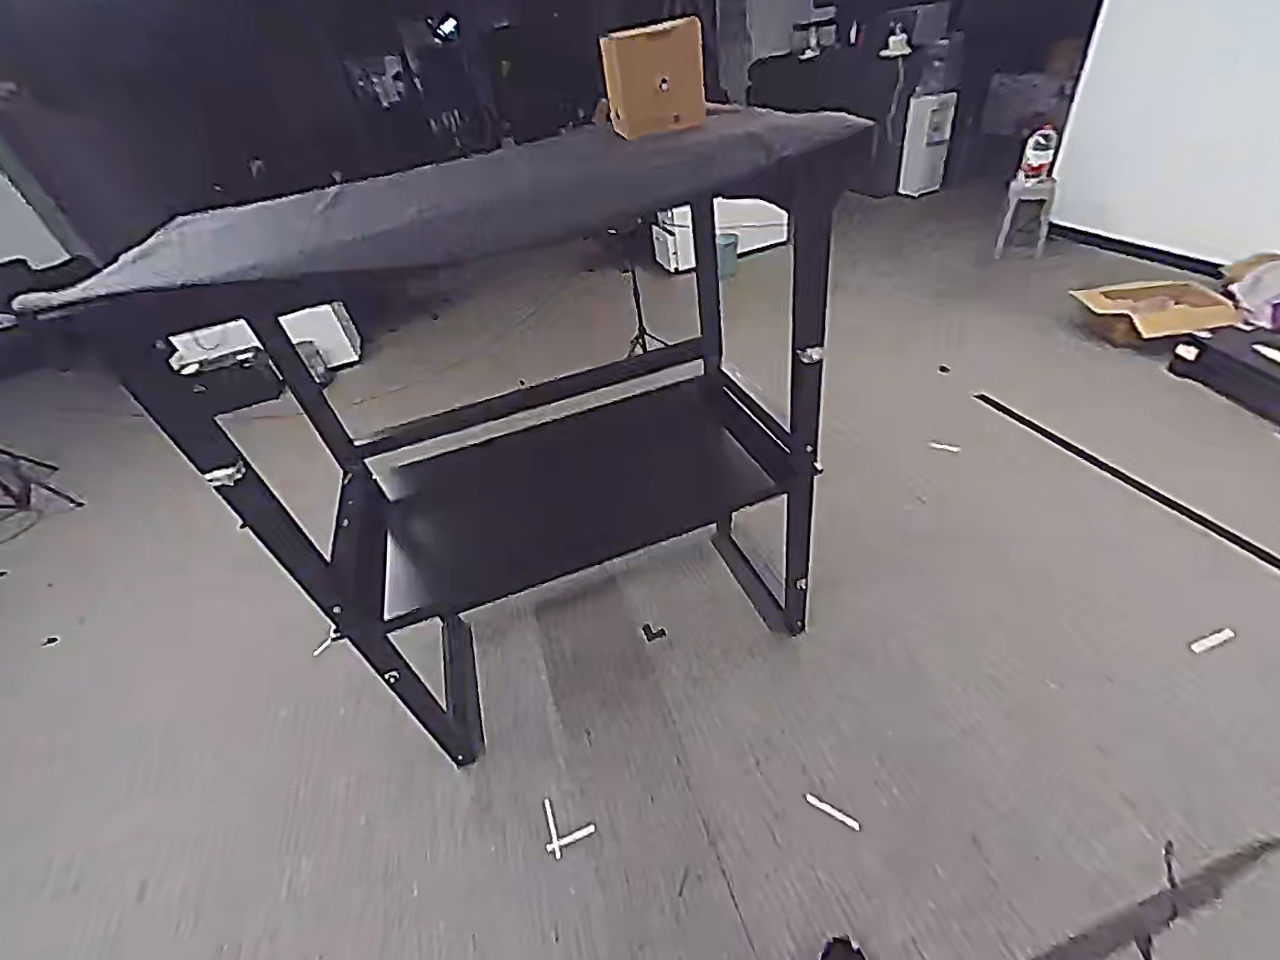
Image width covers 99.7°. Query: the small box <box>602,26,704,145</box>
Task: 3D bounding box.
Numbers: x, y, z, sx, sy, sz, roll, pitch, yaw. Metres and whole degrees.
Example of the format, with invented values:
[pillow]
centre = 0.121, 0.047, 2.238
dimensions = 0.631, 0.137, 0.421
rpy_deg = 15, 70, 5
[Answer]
[small box]
centre = 0.029, -0.808, 1.114
dimensions = 0.168, 0.176, 0.179
rpy_deg = -15, 41, -4
